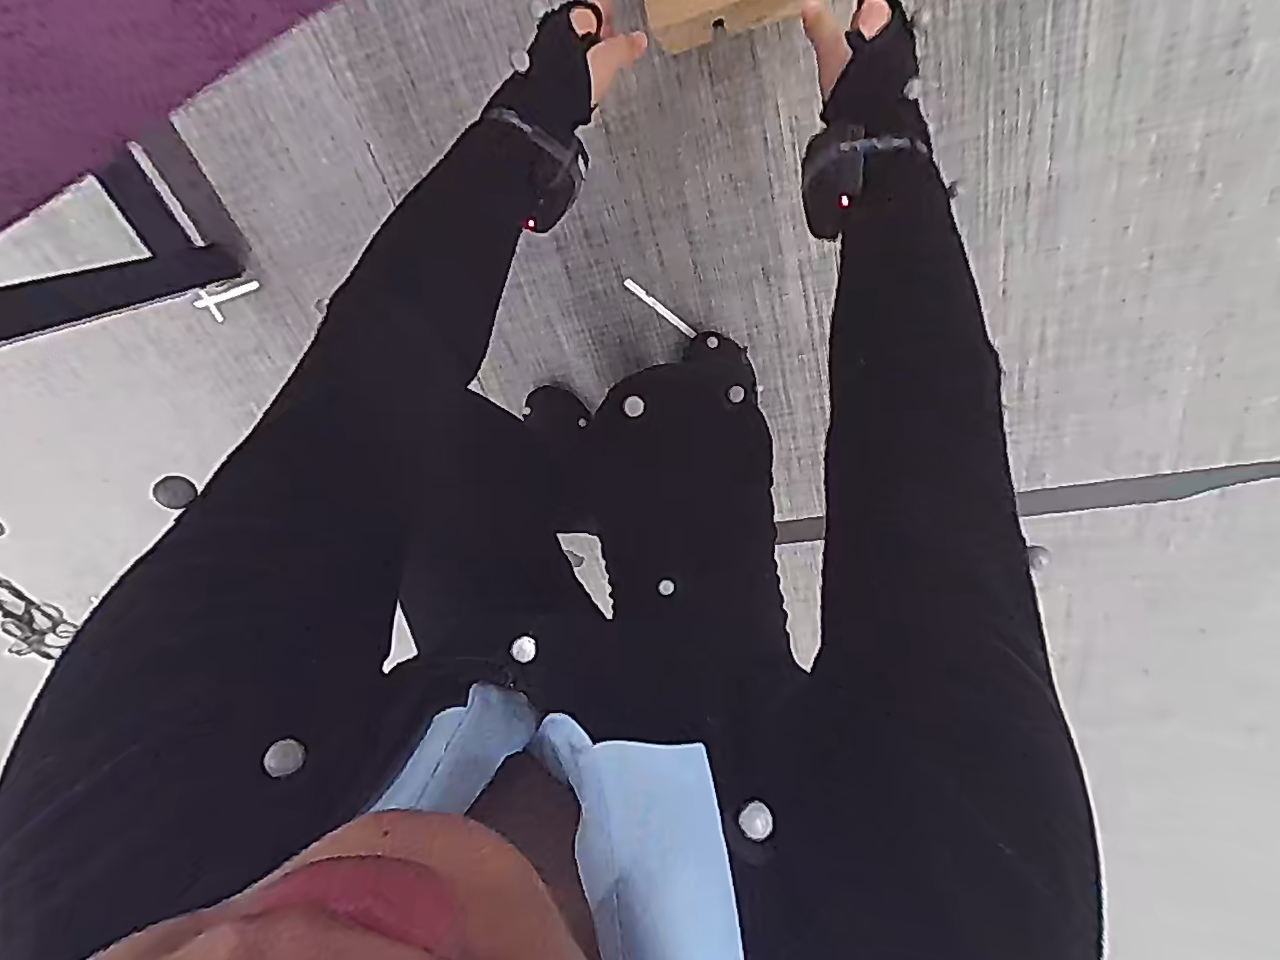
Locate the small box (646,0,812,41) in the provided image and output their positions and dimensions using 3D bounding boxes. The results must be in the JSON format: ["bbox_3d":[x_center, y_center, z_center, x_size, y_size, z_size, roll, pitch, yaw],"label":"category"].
[{"bbox_3d":[0.082,-0.529,0.488,0.168,0.176,0.179,-7,119,15],"label":"small box"}]
